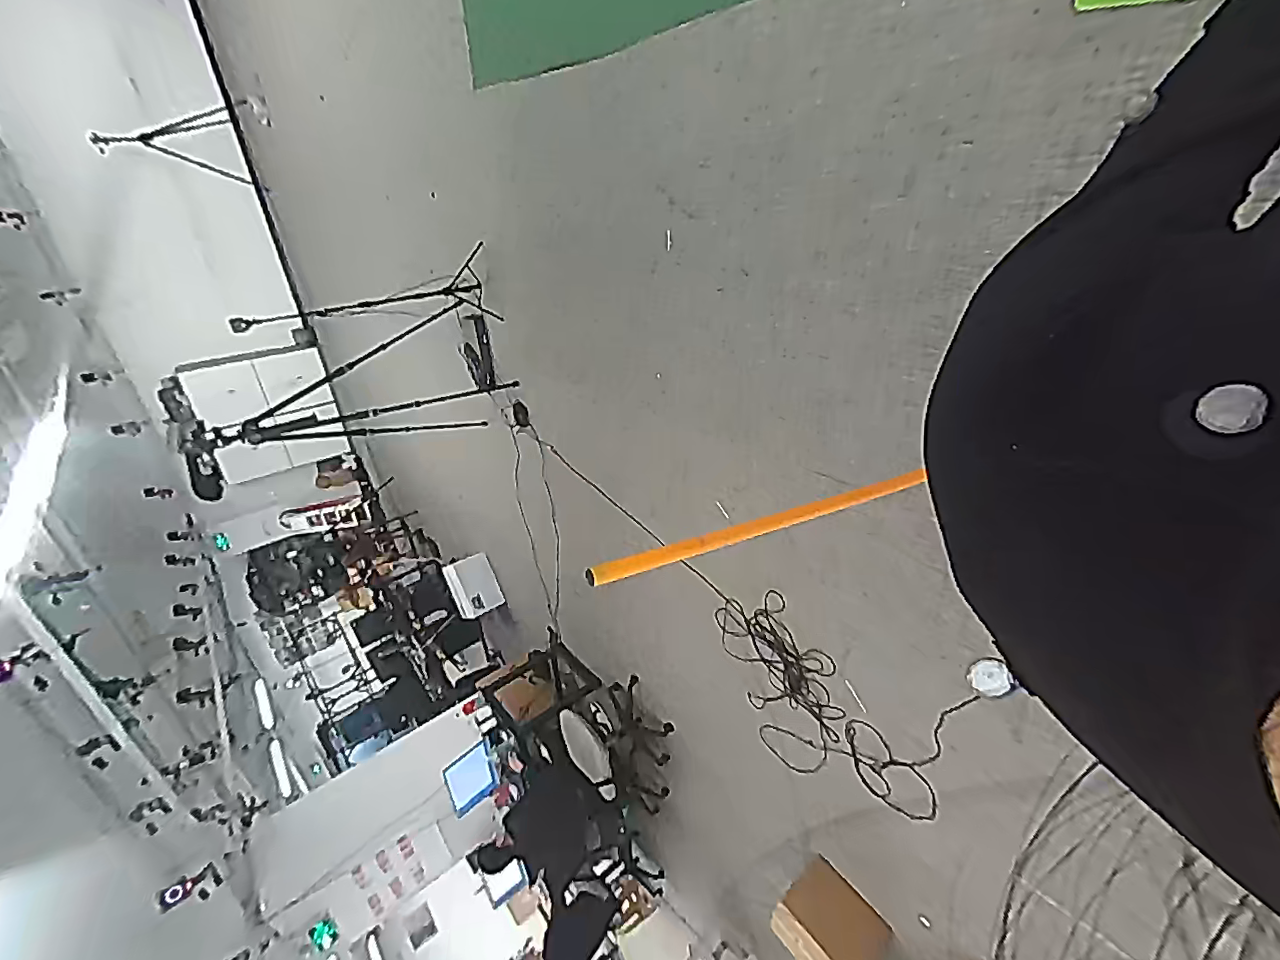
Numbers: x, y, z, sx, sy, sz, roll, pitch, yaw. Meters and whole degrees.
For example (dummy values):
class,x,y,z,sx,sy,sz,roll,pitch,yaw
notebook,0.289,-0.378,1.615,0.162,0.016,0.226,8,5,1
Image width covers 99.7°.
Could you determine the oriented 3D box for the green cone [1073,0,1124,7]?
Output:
class,x,y,z,sx,sy,sz,roll,pitch,yaw
green cone,0.745,-0.883,0.818,0.202,0.368,0.200,33,134,41
